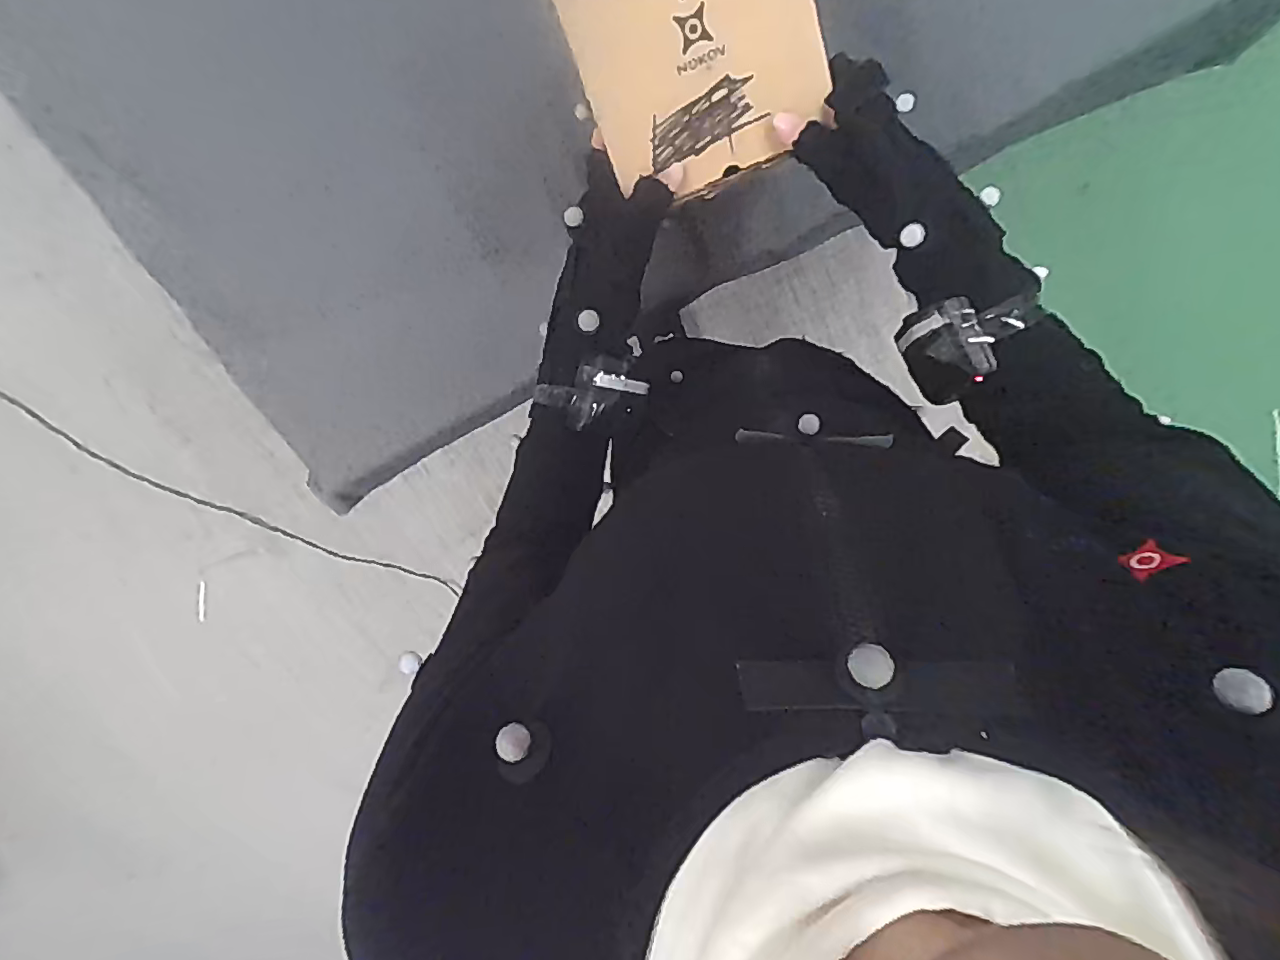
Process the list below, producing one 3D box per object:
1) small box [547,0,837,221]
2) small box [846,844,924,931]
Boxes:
[{"bbox_3d":[0.039,-0.338,0.447,0.168,0.176,0.179,-22,113,11],"label":"small box"},{"bbox_3d":[0.877,1.462,1.949,0.179,0.176,0.168,-29,110,8],"label":"small box"}]
